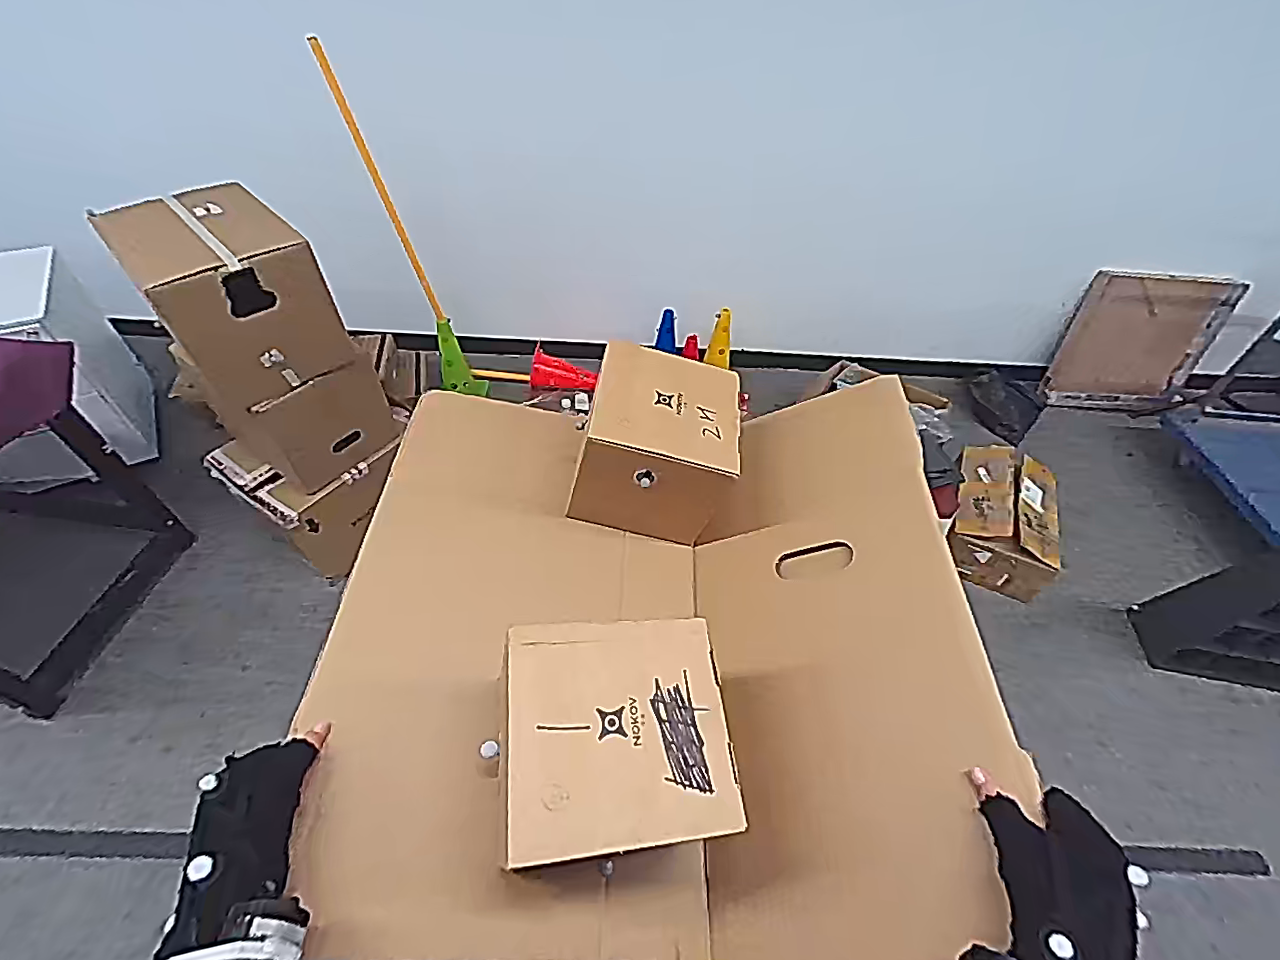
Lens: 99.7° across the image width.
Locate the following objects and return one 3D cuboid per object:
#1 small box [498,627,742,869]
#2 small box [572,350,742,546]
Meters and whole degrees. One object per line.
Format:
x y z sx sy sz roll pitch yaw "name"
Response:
-0.033 0.241 0.493 0.179 0.176 0.168 2 56 -15 "small box"
0.018 -0.033 0.703 0.179 0.176 0.168 15 53 -7 "small box"
